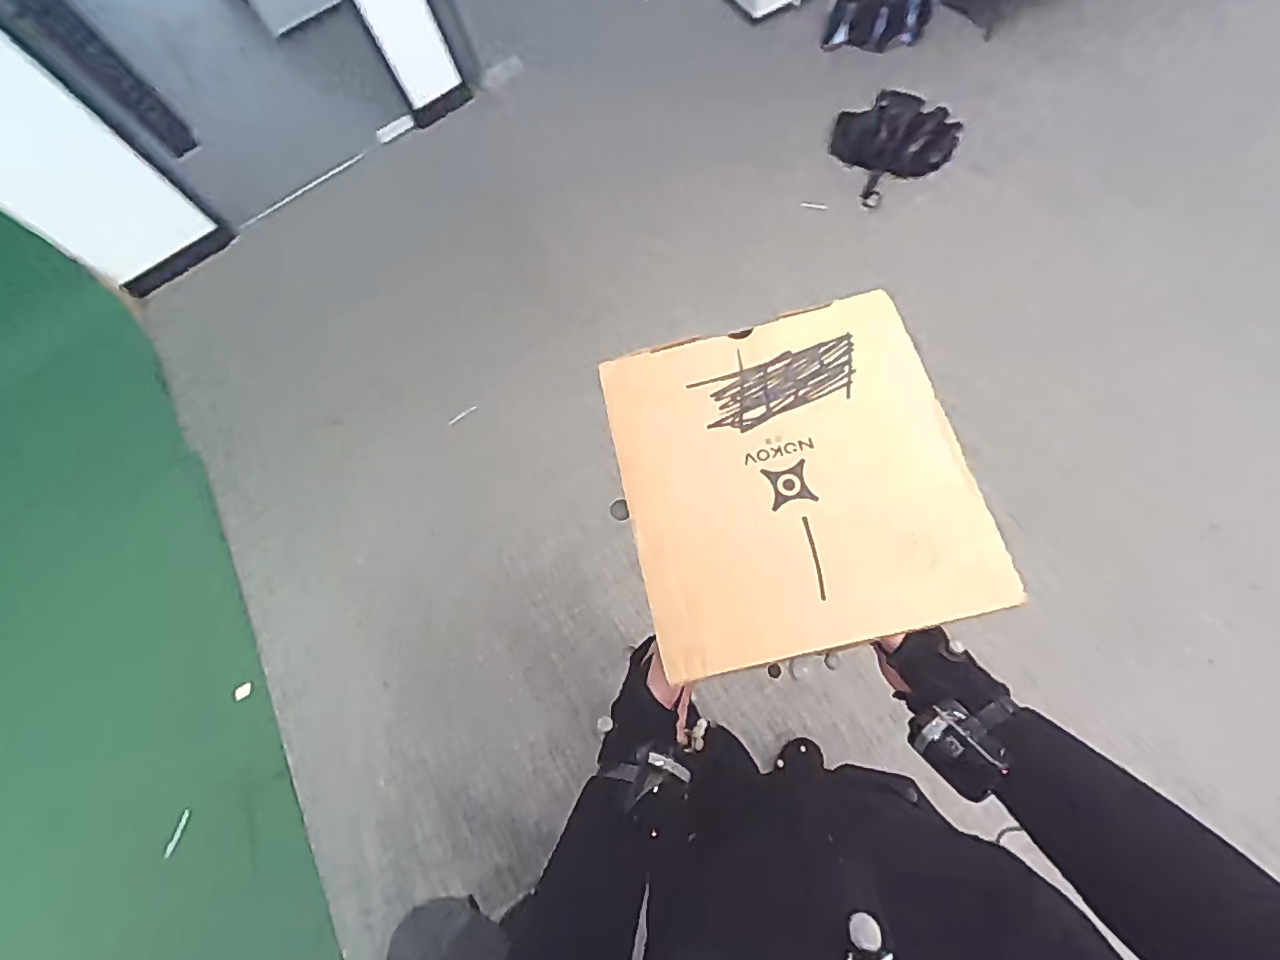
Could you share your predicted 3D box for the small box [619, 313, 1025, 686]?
[{"bbox_3d":[0.091,0.028,0.354,0.168,0.176,0.179,-14,70,3],"label":"small box"}]
